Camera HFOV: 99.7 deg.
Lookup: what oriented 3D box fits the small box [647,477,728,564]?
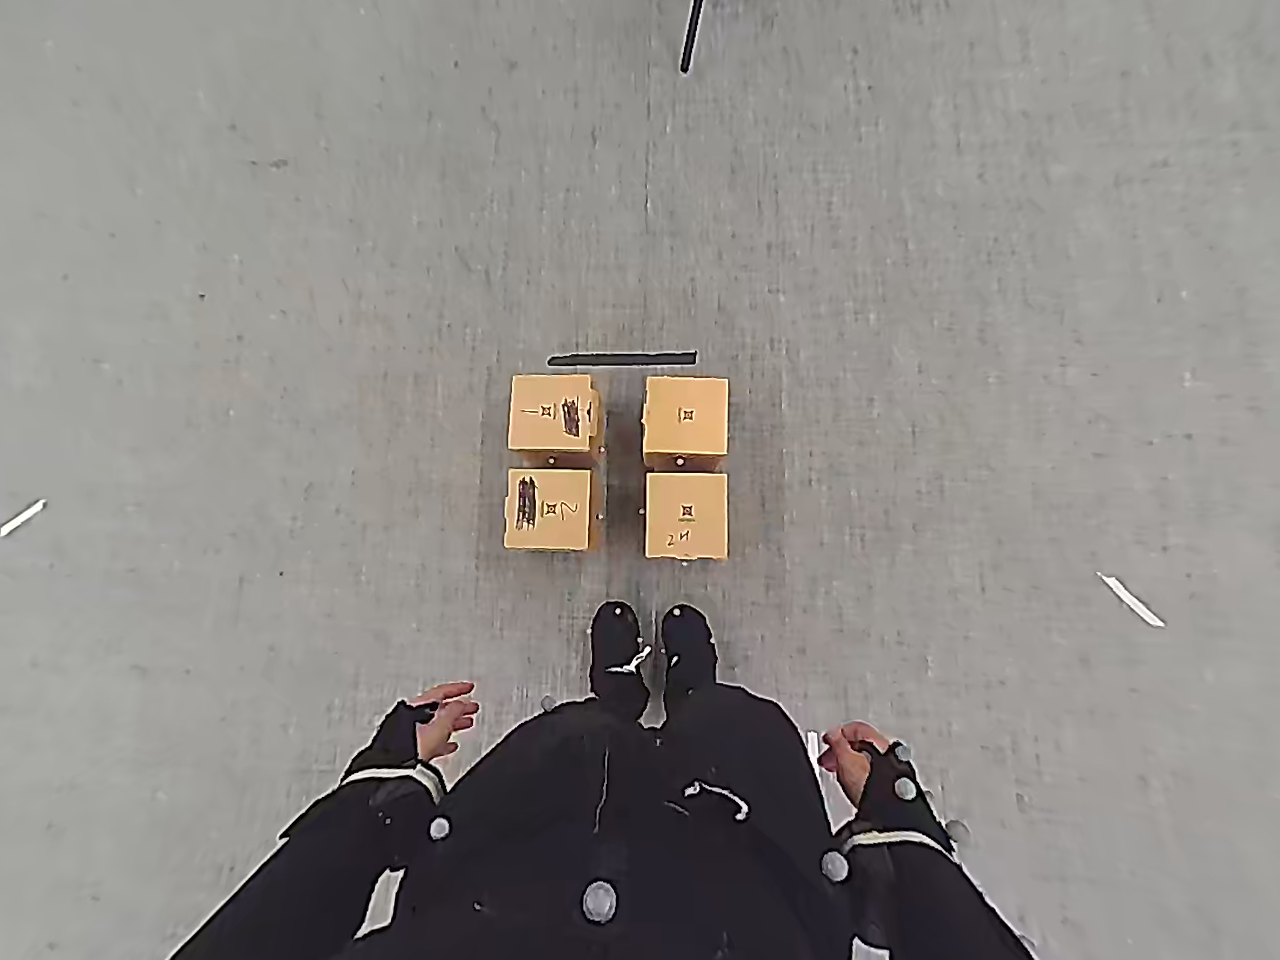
[{"bbox_3d":[0.101,0.093,1.182,0.168,0.176,0.179,0,81,3],"label":"small box"}]
